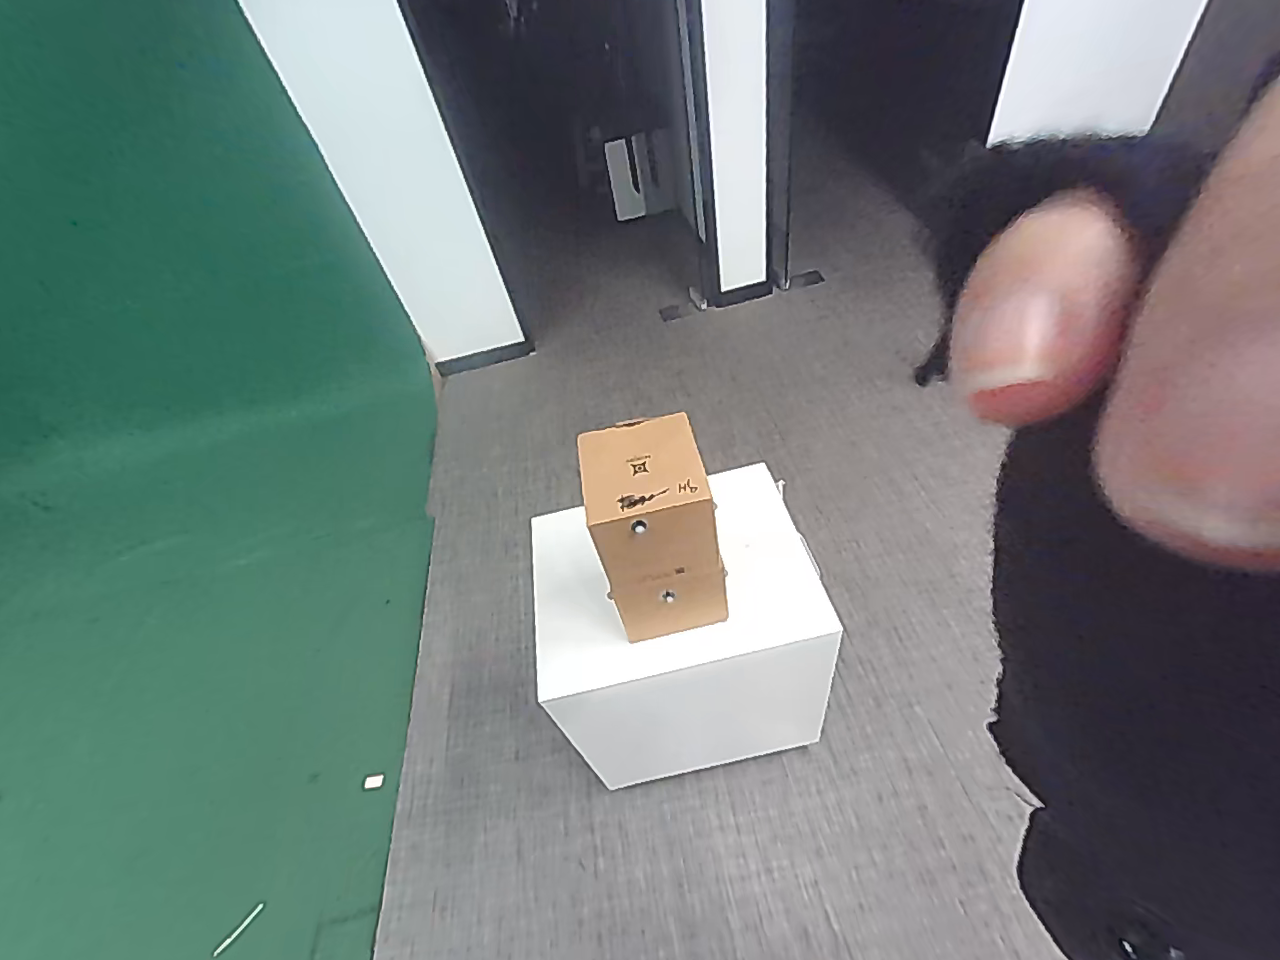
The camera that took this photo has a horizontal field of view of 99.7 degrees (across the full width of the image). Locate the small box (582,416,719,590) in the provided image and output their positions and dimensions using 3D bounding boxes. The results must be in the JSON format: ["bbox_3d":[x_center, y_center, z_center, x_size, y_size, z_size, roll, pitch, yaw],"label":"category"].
[{"bbox_3d":[0.017,0.035,0.807,0.168,0.176,0.179,-14,47,-1],"label":"small box"}]

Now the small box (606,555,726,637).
[{"bbox_3d":[0.041,0.147,0.921,0.179,0.176,0.168,-13,47,0],"label":"small box"}]
